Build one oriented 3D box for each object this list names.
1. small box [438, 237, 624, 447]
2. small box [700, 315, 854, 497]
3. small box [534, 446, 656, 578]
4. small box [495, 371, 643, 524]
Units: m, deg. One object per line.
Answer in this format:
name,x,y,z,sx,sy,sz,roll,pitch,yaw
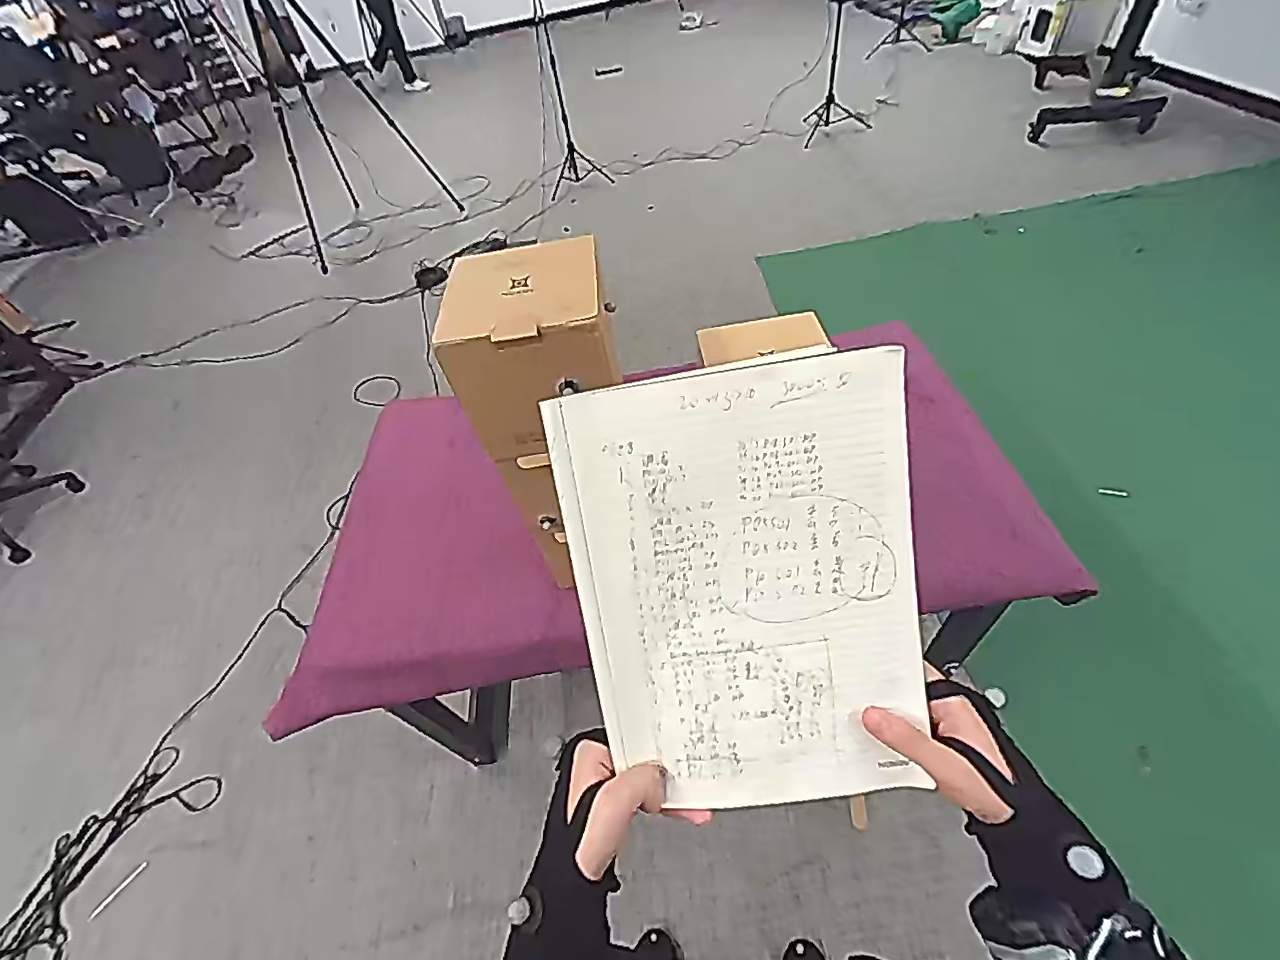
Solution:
small box,-0.113,-0.153,0.635,0.168,0.176,0.179,-8,49,3
small box,0.177,-0.102,0.756,0.168,0.176,0.179,-9,49,3
small box,-0.069,0.048,0.891,0.168,0.176,0.179,-9,50,2
small box,-0.091,-0.052,0.762,0.168,0.176,0.179,-9,48,3
